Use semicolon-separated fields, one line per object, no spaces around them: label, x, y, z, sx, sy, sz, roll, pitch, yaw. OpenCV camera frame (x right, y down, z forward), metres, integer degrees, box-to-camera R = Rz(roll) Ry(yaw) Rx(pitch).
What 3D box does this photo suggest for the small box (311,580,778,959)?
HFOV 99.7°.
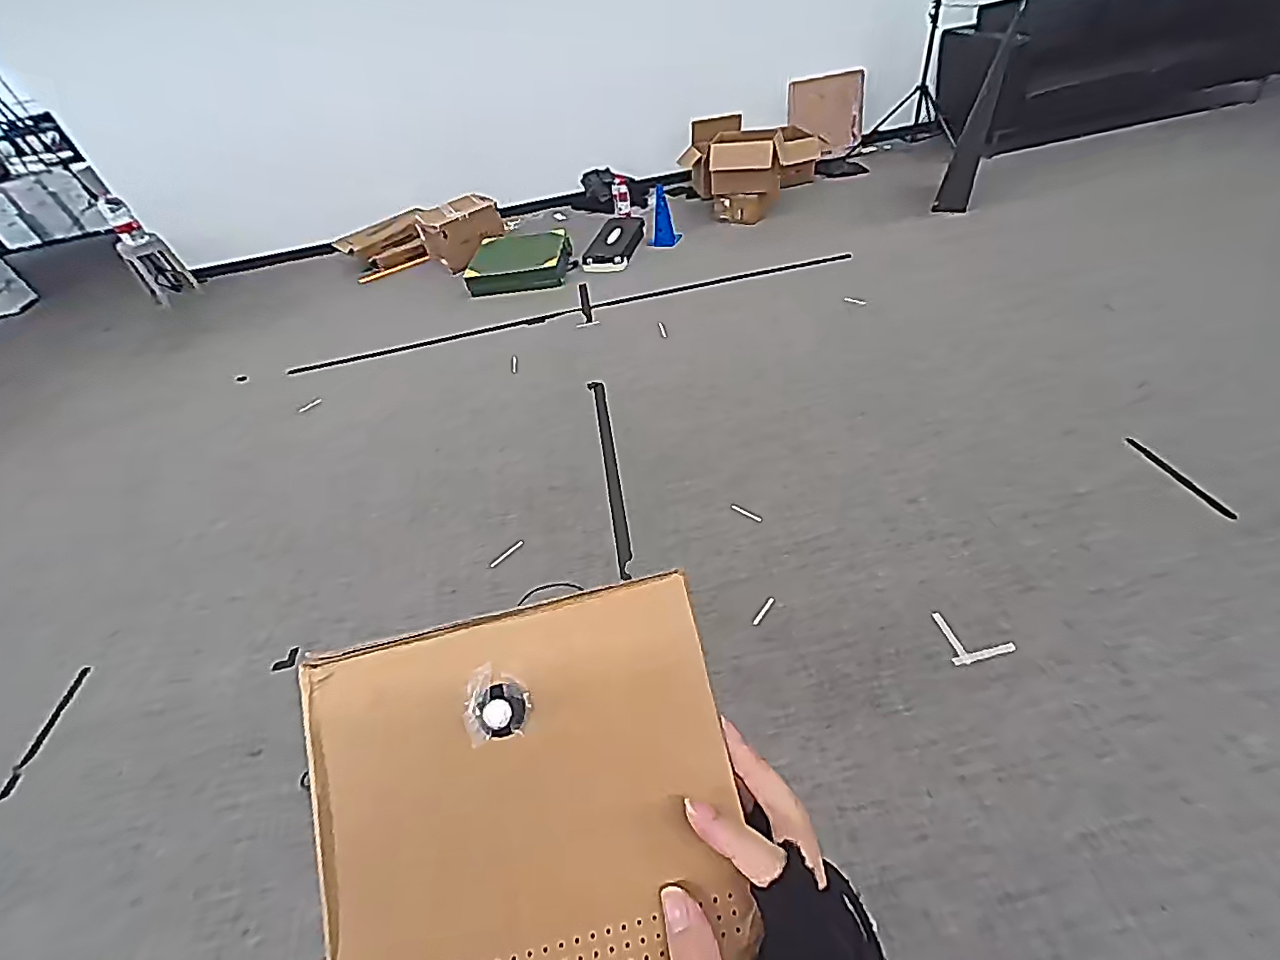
small box;-0.045;0.162;0.304;0.179;0.168;0.176;-13;78;-5
